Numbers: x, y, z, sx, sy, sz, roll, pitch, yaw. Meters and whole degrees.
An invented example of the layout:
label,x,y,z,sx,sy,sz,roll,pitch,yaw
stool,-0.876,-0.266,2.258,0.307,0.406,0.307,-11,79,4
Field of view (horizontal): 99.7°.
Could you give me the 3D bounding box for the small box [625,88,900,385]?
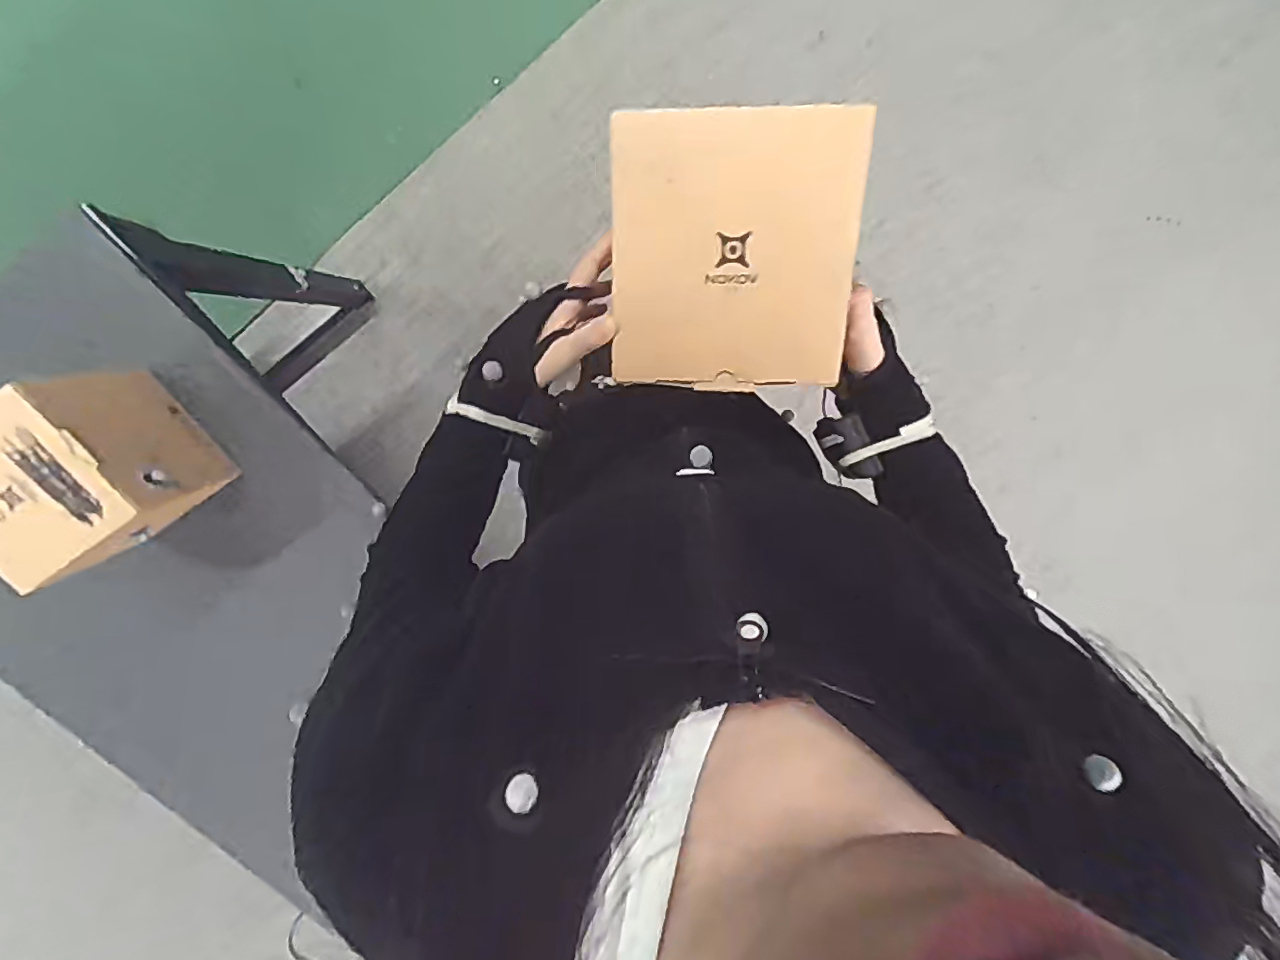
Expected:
label,x,y,z,sx,sy,sz,roll,pitch,yaw
small box,0.076,-0.181,0.431,0.168,0.176,0.179,3,112,2
